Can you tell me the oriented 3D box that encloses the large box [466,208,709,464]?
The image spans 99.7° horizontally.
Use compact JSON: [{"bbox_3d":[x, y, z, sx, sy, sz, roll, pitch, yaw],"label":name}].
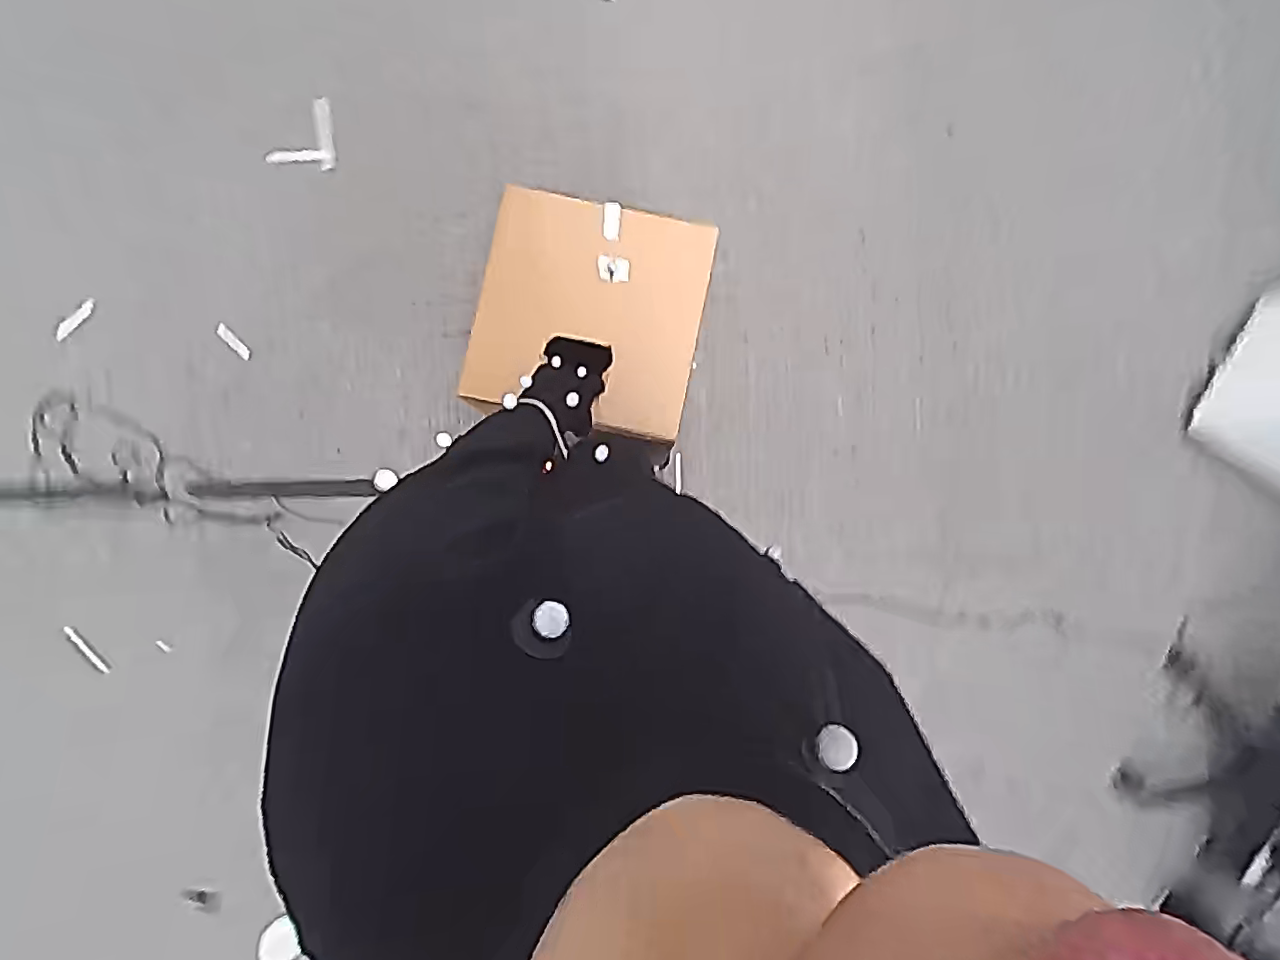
[{"bbox_3d":[-0.068,-0.217,0.961,0.320,0.408,0.320,12,88,1],"label":"large box"}]
